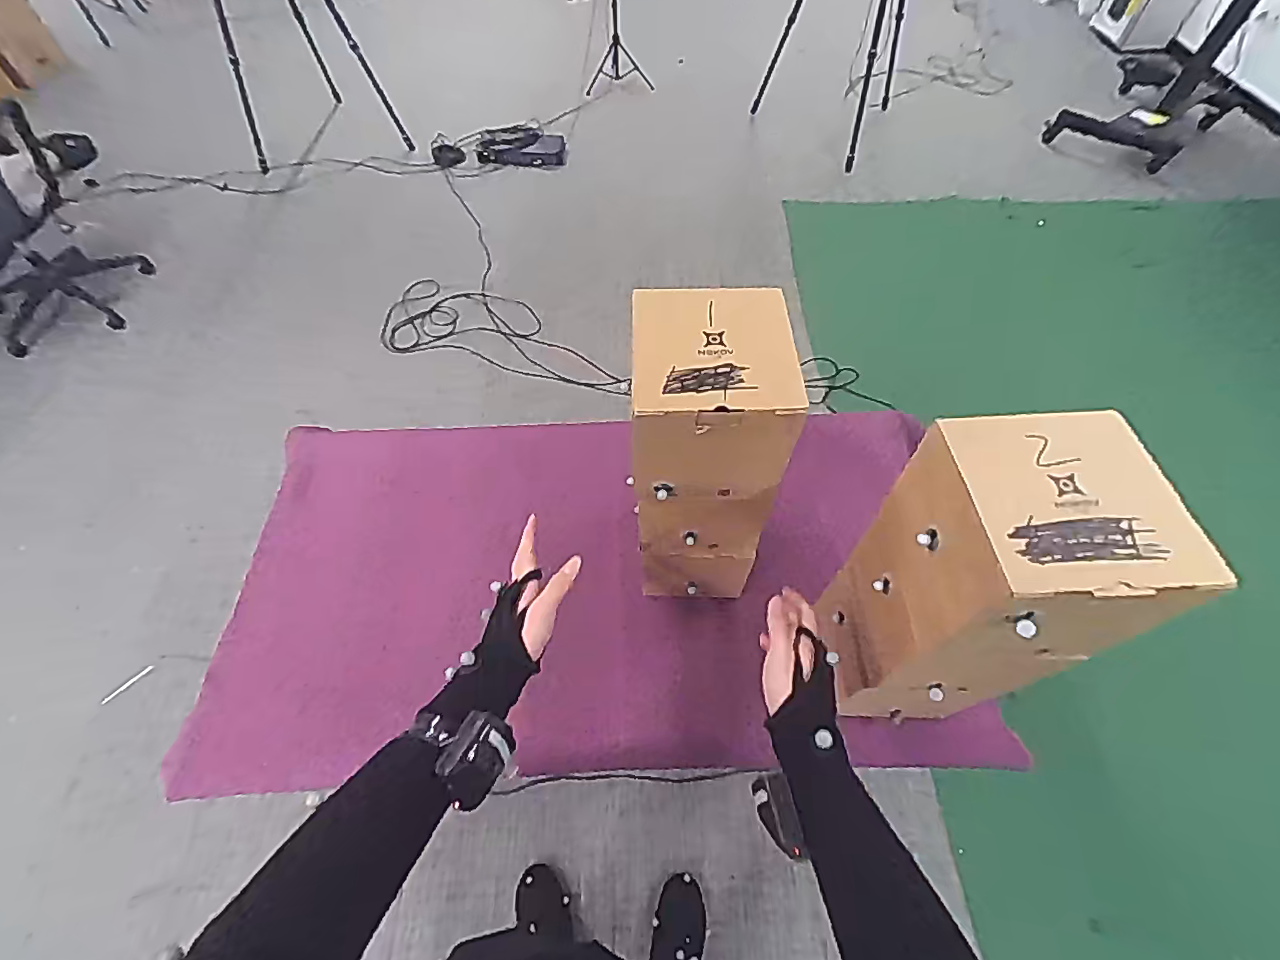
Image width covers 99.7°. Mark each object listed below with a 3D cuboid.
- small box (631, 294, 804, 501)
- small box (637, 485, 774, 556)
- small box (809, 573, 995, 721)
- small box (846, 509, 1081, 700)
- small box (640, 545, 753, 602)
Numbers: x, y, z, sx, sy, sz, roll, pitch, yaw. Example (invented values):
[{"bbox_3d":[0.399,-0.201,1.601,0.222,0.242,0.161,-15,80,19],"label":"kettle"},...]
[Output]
[{"bbox_3d":[0.075,-0.087,0.617,0.168,0.176,0.179,0,57,0],"label":"small box"},{"bbox_3d":[0.079,-0.006,0.761,0.168,0.176,0.179,-1,58,-1],"label":"small box"},{"bbox_3d":[0.363,0.247,0.787,0.179,0.176,0.168,2,56,1],"label":"small box"},{"bbox_3d":[0.363,0.153,0.653,0.168,0.176,0.179,1,57,3],"label":"small box"},{"bbox_3d":[0.087,0.086,0.894,0.168,0.176,0.179,2,57,2],"label":"small box"}]
